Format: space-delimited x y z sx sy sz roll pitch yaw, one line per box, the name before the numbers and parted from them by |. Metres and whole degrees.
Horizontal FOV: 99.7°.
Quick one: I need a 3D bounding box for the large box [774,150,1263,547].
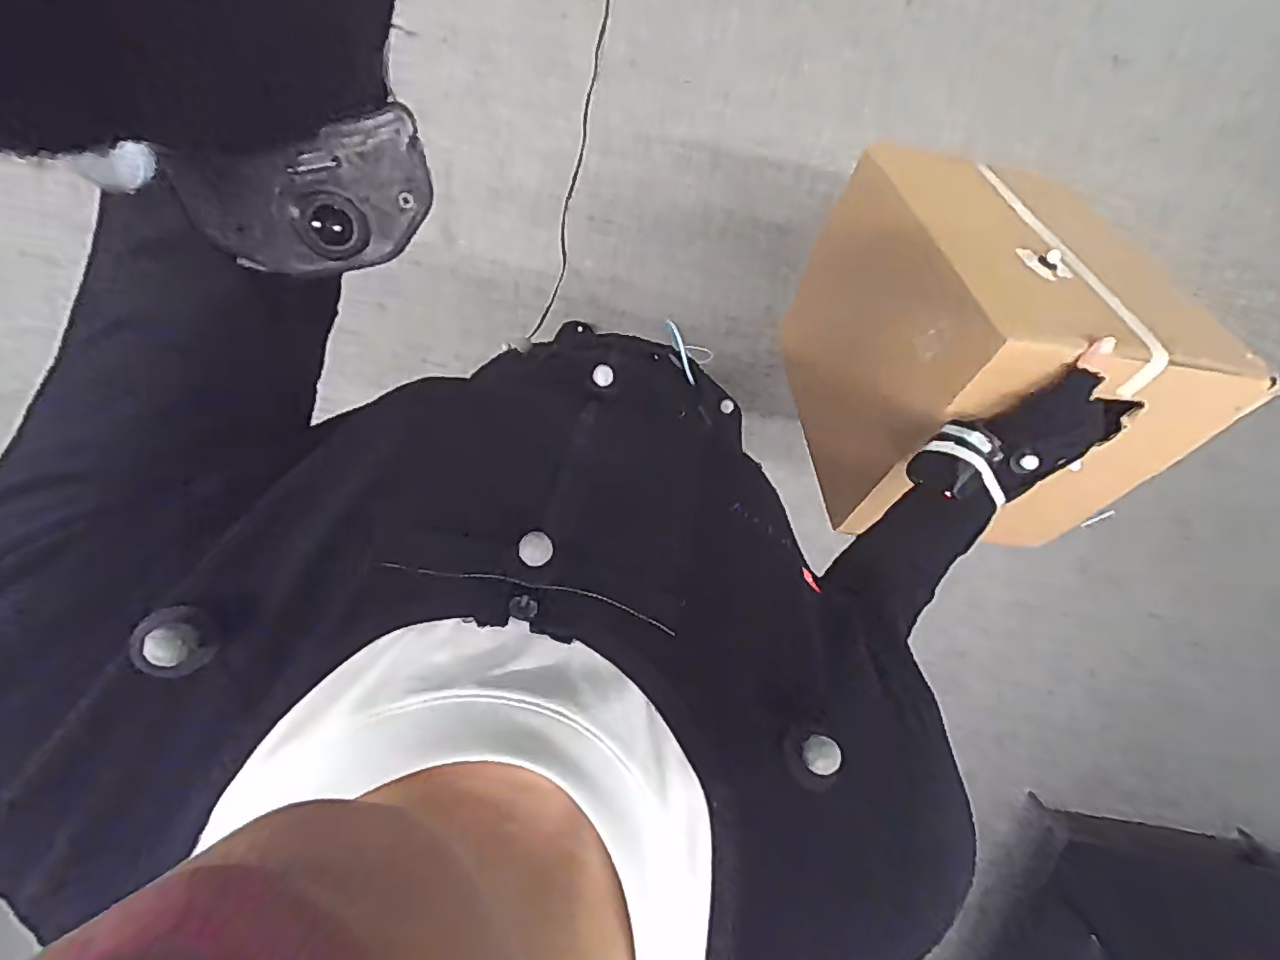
large box | 0.418 -0.164 0.727 0.320 0.408 0.320 5 143 -11
